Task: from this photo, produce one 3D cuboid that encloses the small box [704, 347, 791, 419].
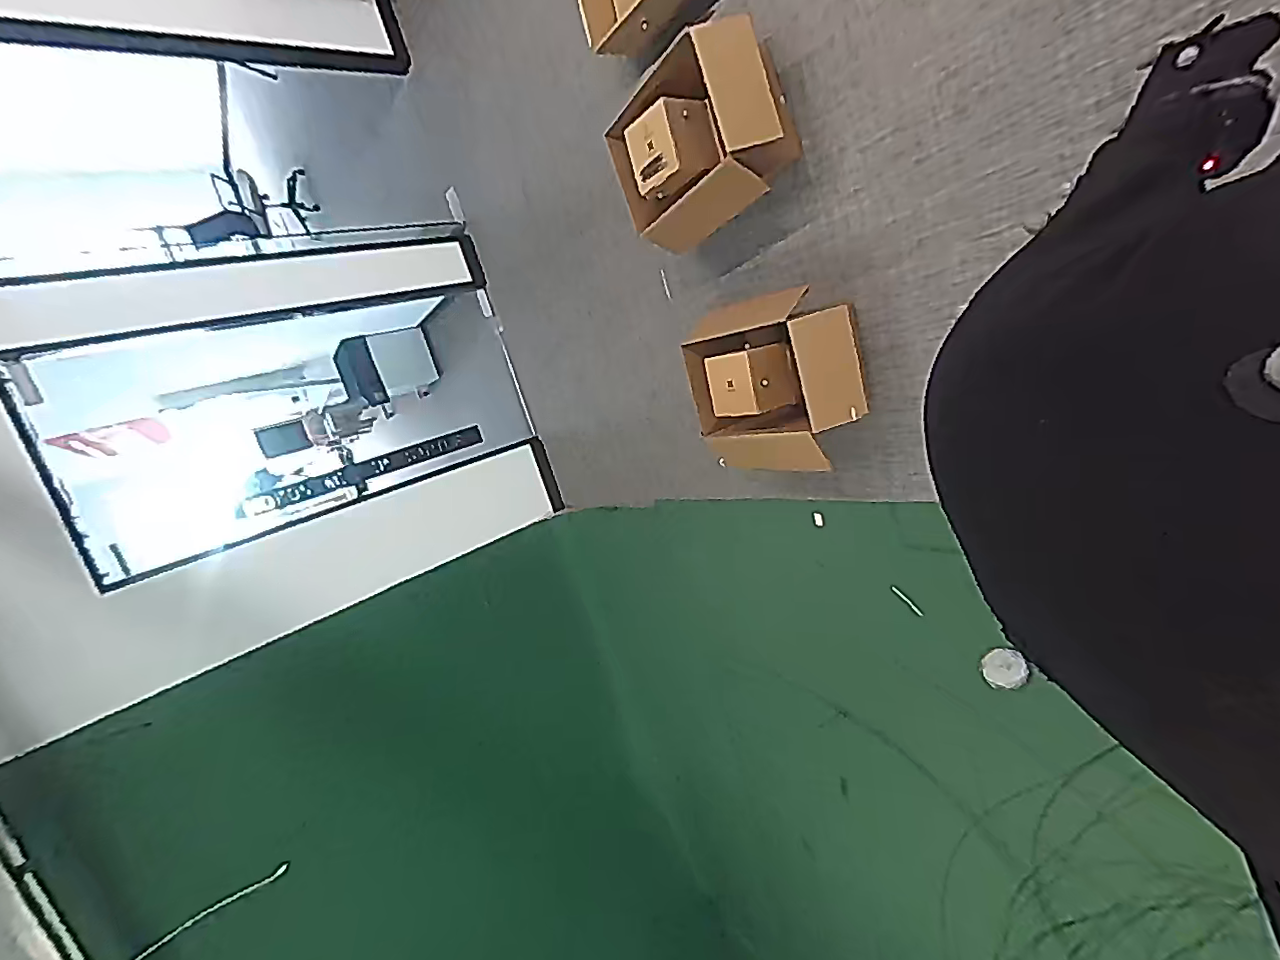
[{"bbox_3d":[0.313,-0.281,1.558,0.168,0.176,0.179,4,111,52],"label":"small box"}]
